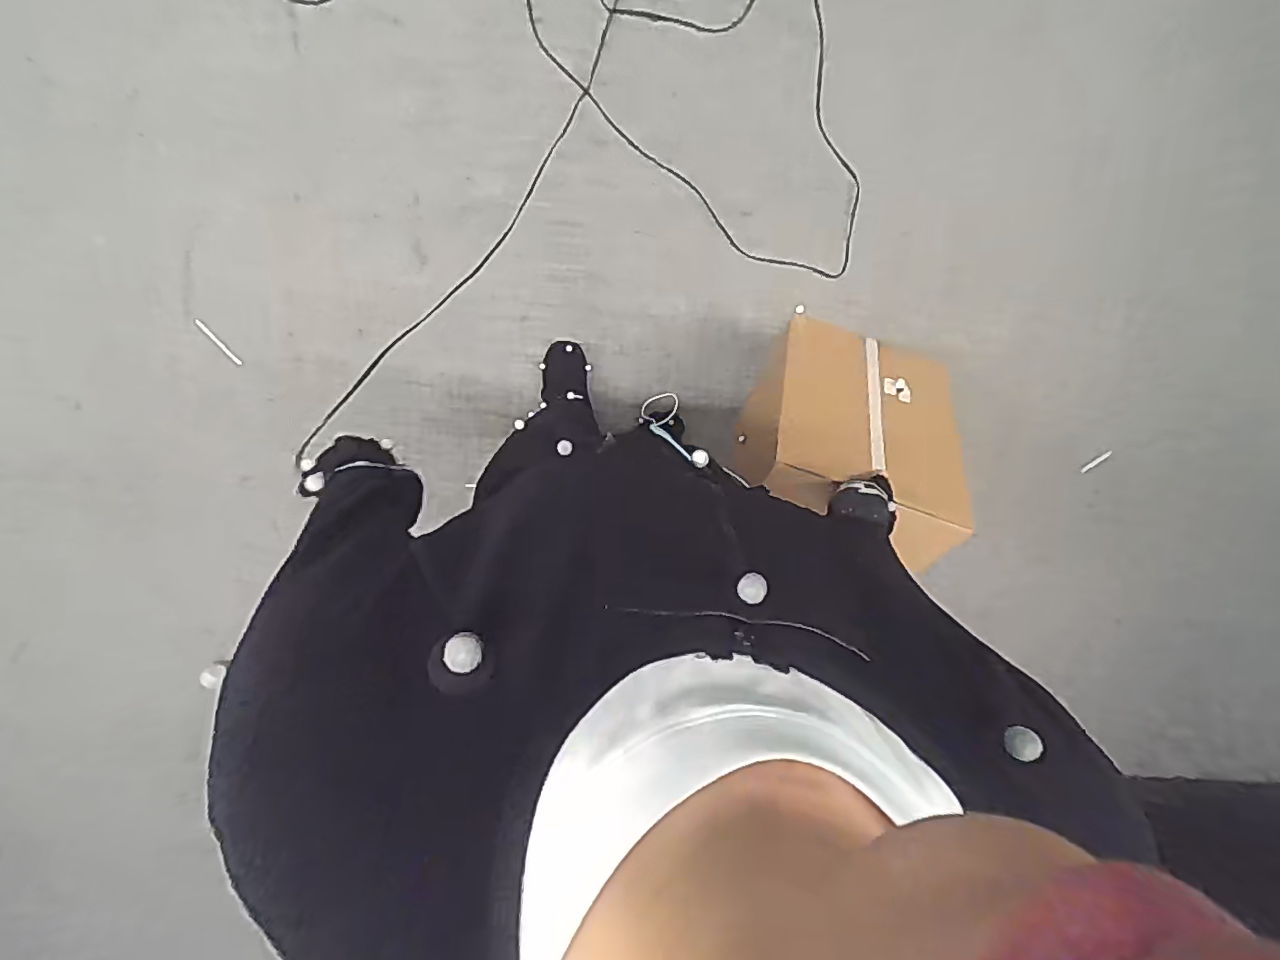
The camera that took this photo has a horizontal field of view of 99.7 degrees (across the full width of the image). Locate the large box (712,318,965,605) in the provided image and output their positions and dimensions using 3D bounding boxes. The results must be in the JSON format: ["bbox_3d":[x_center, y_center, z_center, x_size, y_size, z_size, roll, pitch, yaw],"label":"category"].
[{"bbox_3d":[0.348,-0.033,1.037,0.320,0.408,0.320,19,140,-3],"label":"large box"}]
